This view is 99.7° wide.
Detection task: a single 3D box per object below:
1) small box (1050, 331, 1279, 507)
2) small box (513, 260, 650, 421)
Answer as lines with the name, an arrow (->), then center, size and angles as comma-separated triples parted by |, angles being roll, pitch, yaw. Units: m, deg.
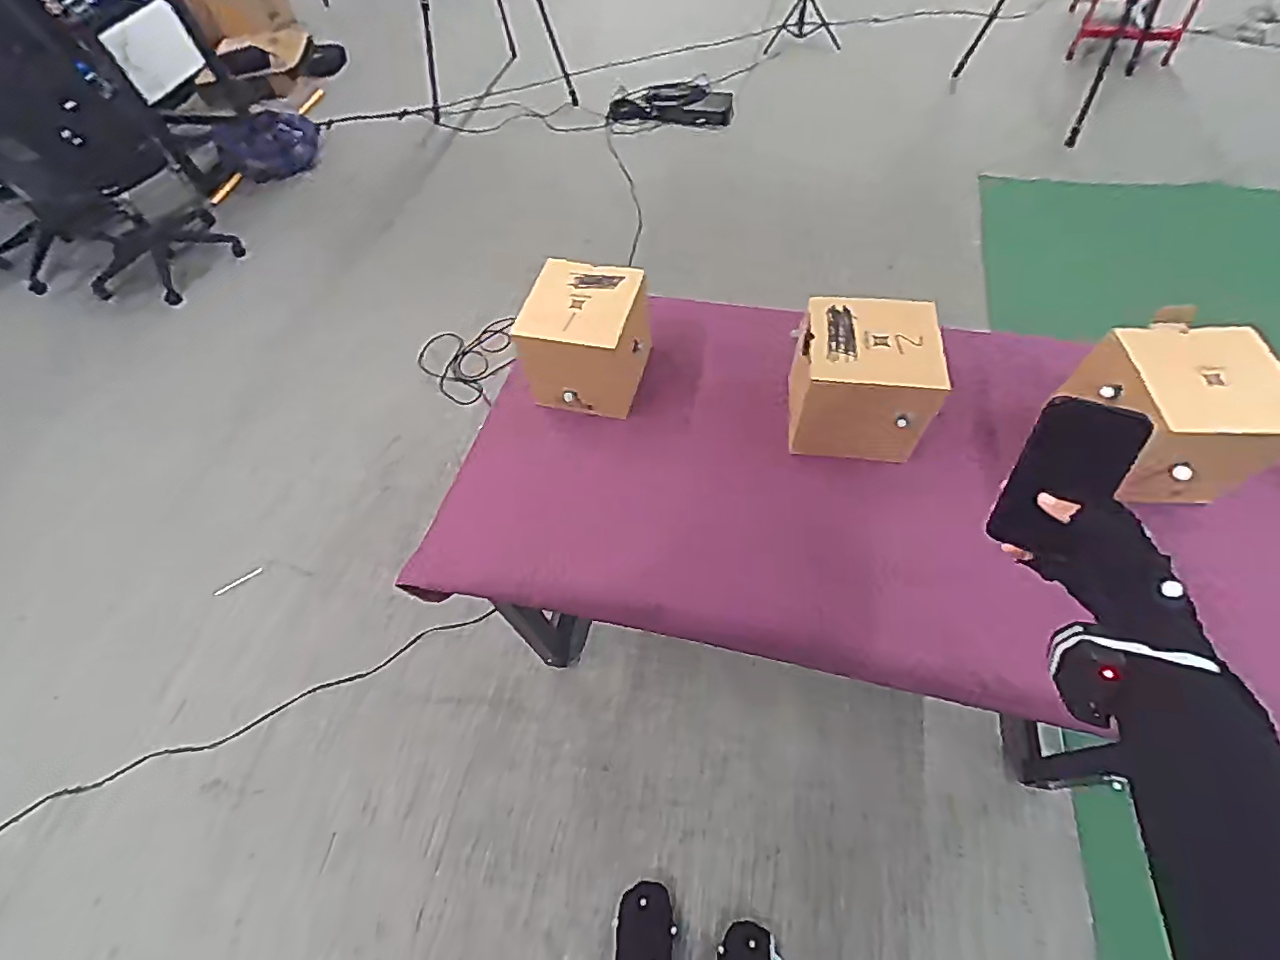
small box -> 0.702, -0.075, 0.724 | 0.168, 0.176, 0.179 | 1, 57, 6
small box -> -0.082, -0.225, 0.883 | 0.168, 0.176, 0.179 | 11, 61, 12
